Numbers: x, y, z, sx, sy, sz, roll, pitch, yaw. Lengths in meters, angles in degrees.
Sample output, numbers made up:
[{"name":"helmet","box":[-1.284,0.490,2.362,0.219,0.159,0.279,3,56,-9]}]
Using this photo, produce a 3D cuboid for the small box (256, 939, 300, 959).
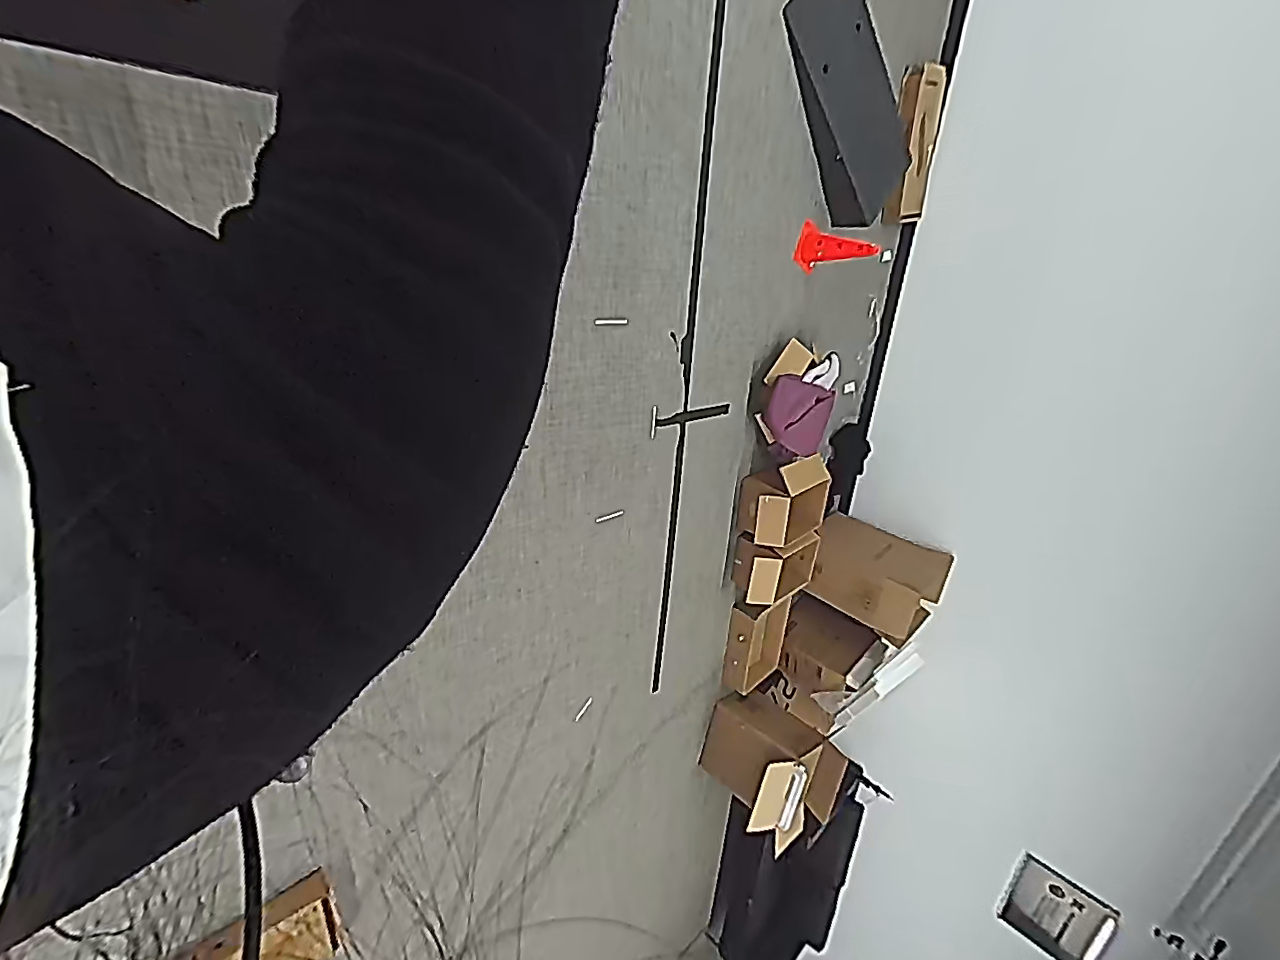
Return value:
[{"name":"small box","box":[-1.109,1.554,1.633,0.168,0.176,0.179,-20,122,-40]}]
